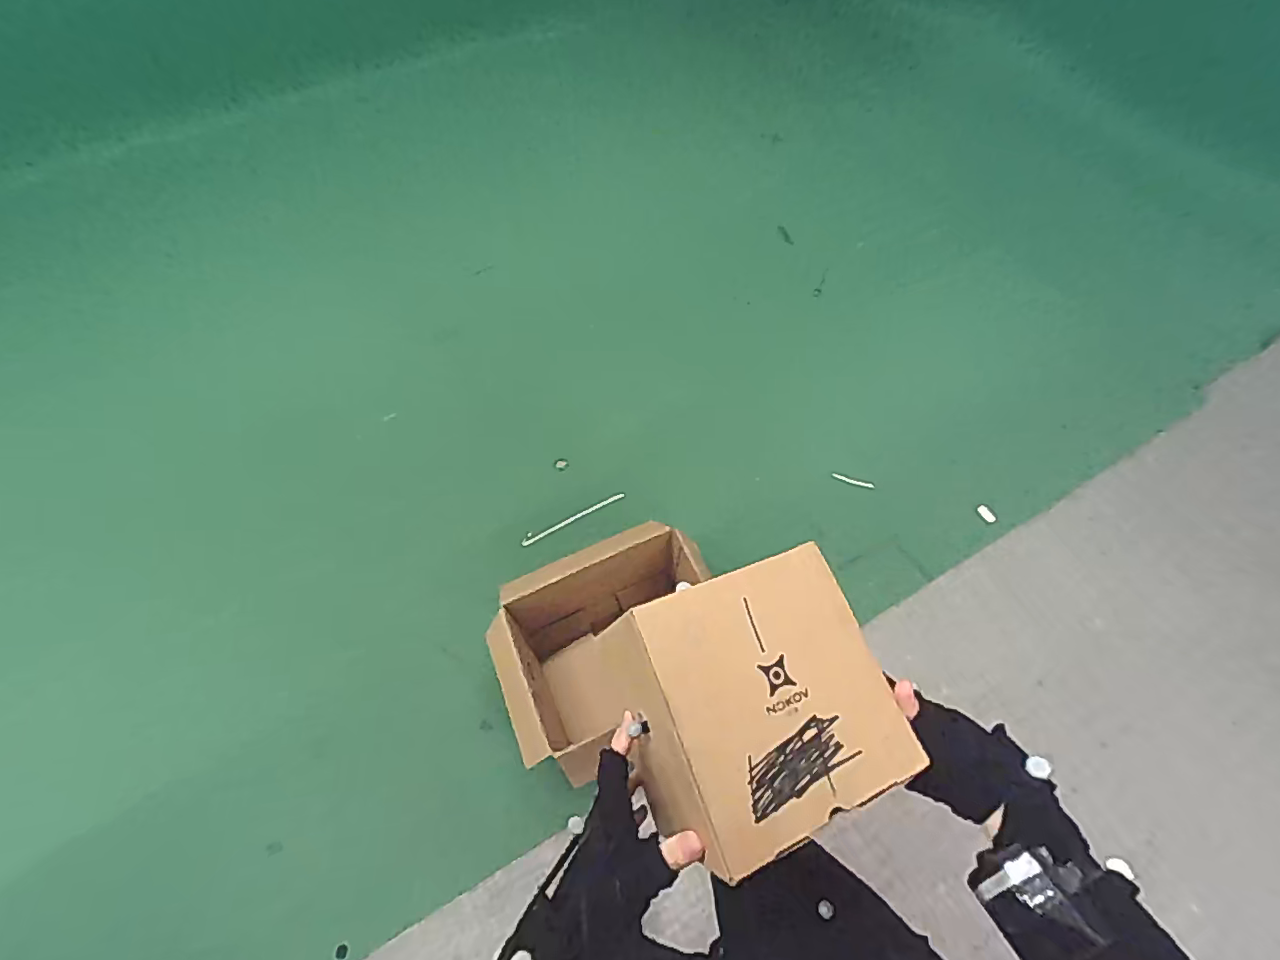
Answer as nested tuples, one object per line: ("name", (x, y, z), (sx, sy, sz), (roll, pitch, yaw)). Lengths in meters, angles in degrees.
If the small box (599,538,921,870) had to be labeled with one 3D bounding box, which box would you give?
("small box", (0.078, 0.173, 0.449), (0.168, 0.176, 0.179), (-16, 70, -21))
